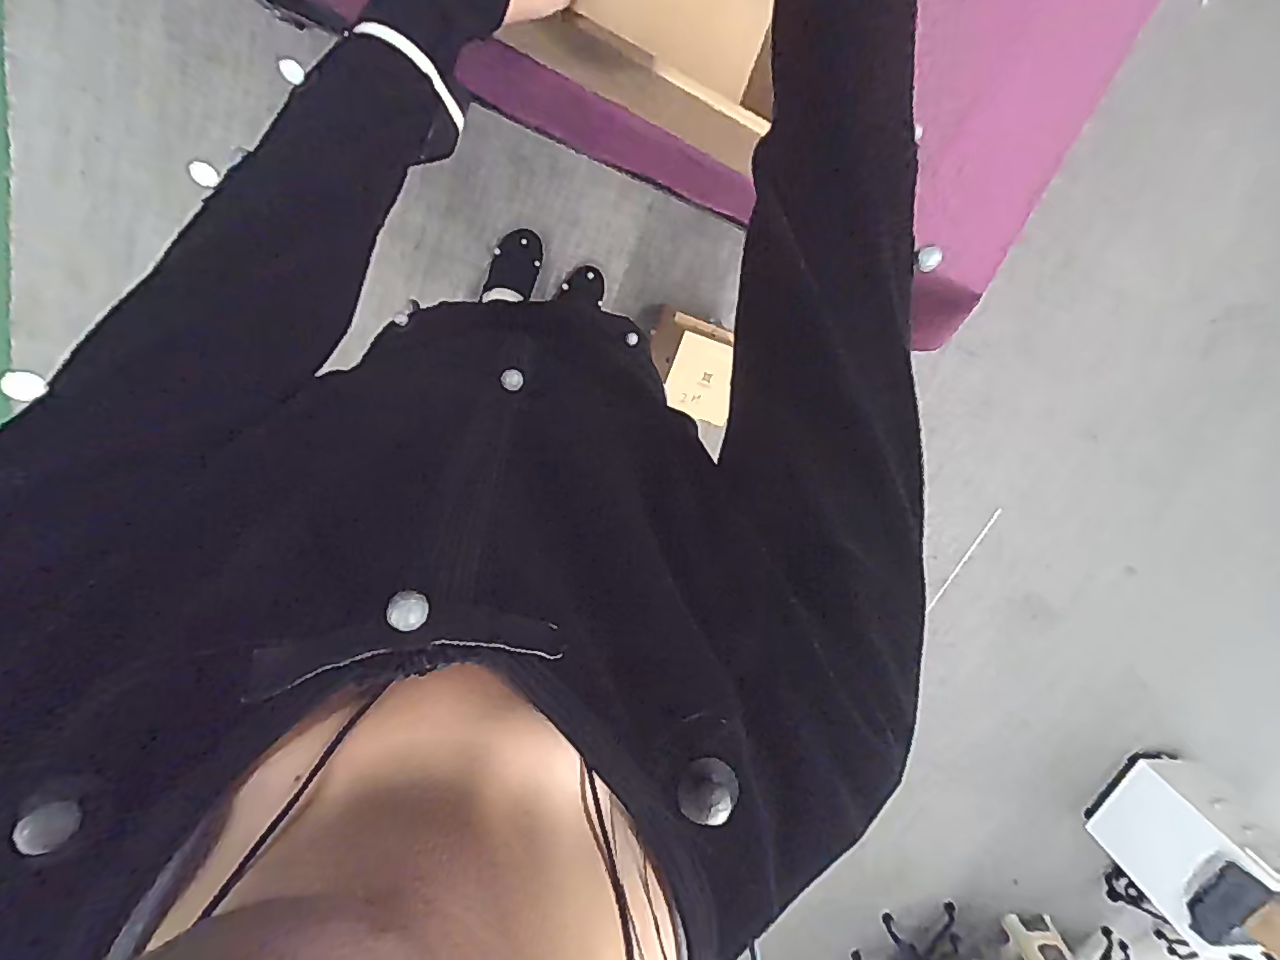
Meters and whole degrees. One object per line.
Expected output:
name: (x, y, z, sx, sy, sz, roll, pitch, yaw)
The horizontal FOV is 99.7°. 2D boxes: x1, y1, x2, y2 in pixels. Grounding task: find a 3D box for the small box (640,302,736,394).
small box: (0.116, -0.345, 1.388, 0.179, 0.176, 0.168, 17, 111, -16)
